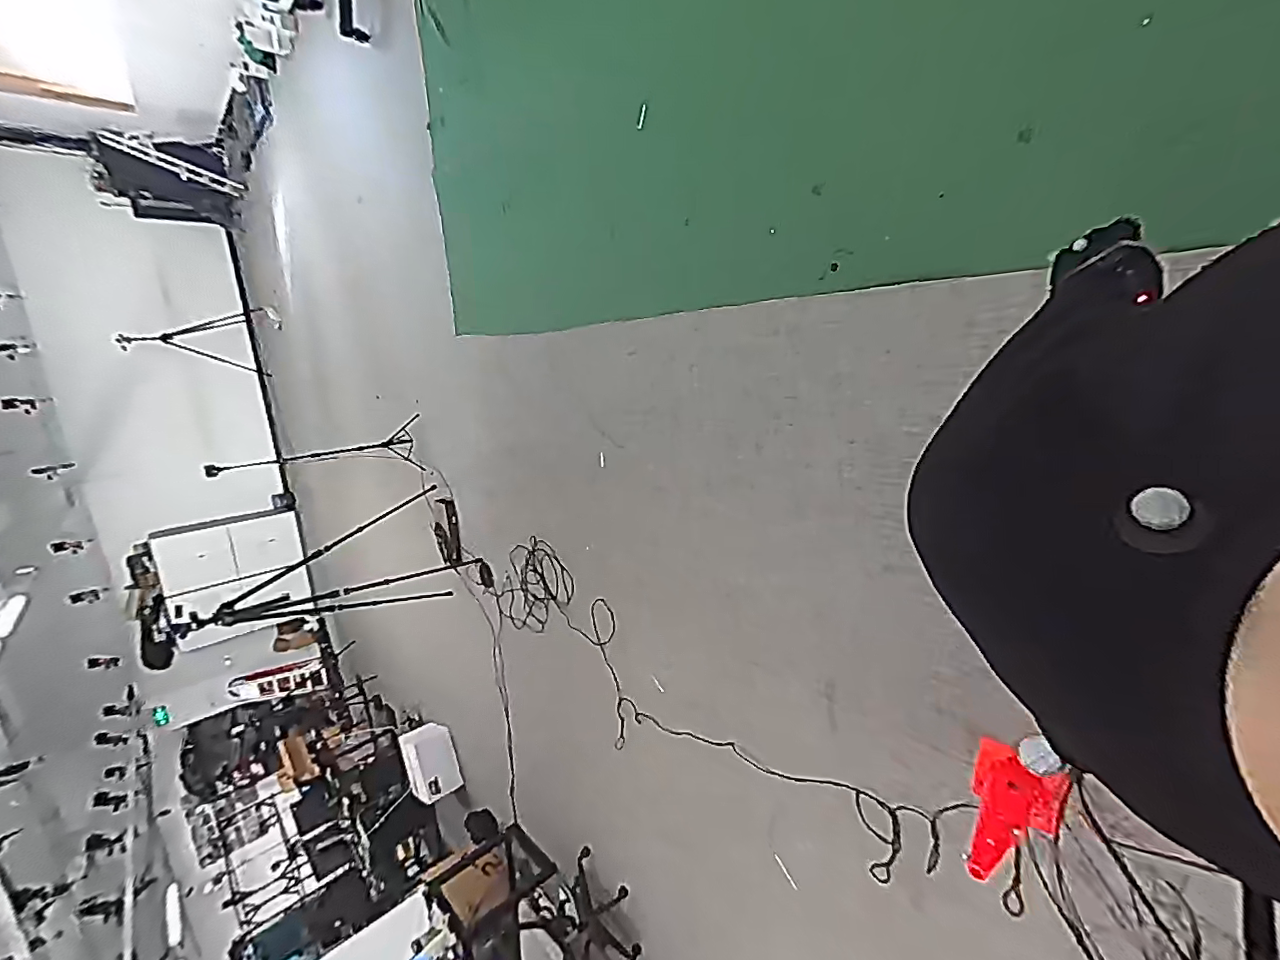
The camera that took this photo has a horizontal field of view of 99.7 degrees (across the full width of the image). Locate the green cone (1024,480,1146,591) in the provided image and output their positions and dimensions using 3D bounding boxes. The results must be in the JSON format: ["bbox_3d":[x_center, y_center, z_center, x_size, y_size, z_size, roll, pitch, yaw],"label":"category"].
[{"bbox_3d":[0.882,0.144,1.126,0.200,0.368,0.202,14,113,46],"label":"green cone"}]

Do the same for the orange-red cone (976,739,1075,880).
[{"bbox_3d":[0.901,0.846,1.331,0.198,0.360,0.199,17,113,44],"label":"orange-red cone"}]
